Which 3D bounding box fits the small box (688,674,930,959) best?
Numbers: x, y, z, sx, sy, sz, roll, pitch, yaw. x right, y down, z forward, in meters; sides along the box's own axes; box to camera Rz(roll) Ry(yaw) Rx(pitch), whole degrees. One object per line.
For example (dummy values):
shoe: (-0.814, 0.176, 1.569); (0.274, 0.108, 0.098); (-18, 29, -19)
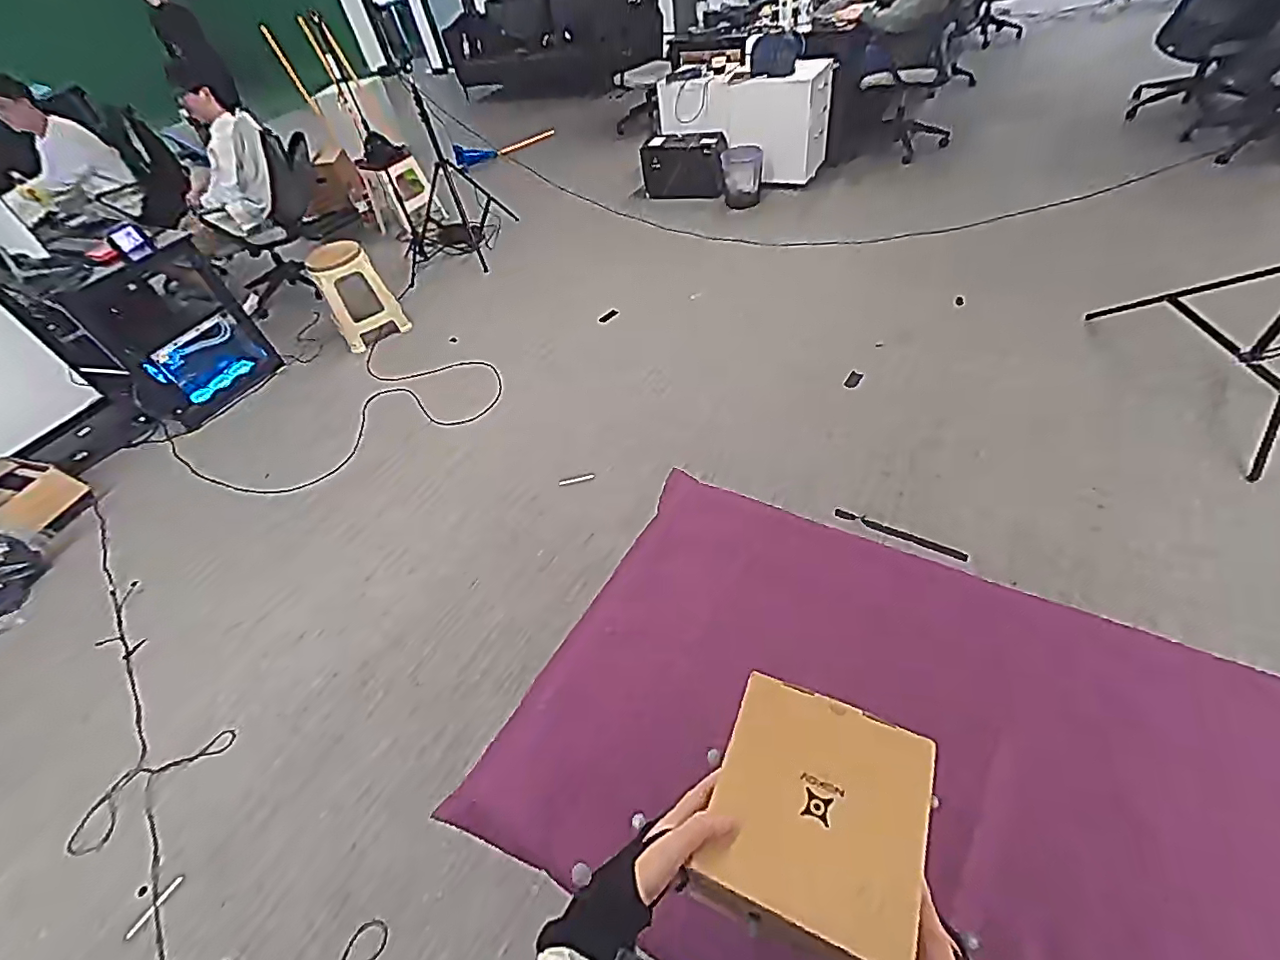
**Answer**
small box: (0.154, 0.325, 0.512); (0.168, 0.176, 0.179); (16, 49, 20)
